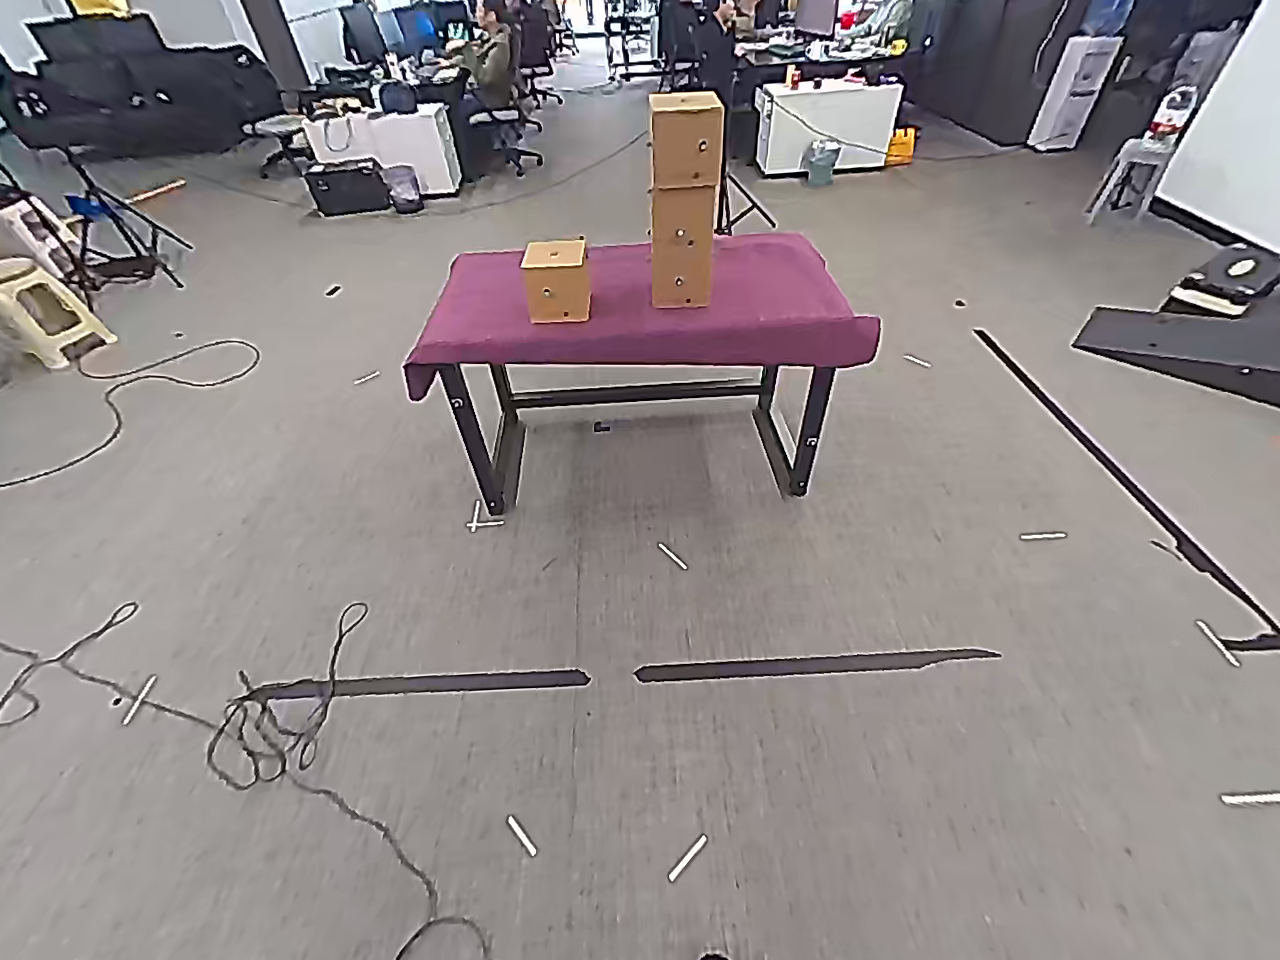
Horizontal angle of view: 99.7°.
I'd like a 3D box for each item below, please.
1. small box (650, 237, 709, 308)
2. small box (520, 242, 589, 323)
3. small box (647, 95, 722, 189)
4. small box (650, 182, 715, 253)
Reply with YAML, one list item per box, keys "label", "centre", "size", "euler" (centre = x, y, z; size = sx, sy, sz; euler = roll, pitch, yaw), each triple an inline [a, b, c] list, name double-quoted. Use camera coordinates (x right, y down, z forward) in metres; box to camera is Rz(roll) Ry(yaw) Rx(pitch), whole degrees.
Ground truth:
- label: "small box"
  centre: [0.113, -0.615, 1.583]
  size: [0.168, 0.176, 0.179]
  euler: [-1, 45, 2]
- label: "small box"
  centre: [-0.237, -0.560, 1.549]
  size: [0.168, 0.176, 0.179]
  euler: [-3, 44, 0]
- label: "small box"
  centre: [0.106, -0.833, 1.340]
  size: [0.168, 0.176, 0.179]
  euler: [-3, 44, -1]
- label: "small box"
  centre: [0.109, -0.734, 1.470]
  size: [0.168, 0.176, 0.179]
  euler: [-2, 46, 2]
